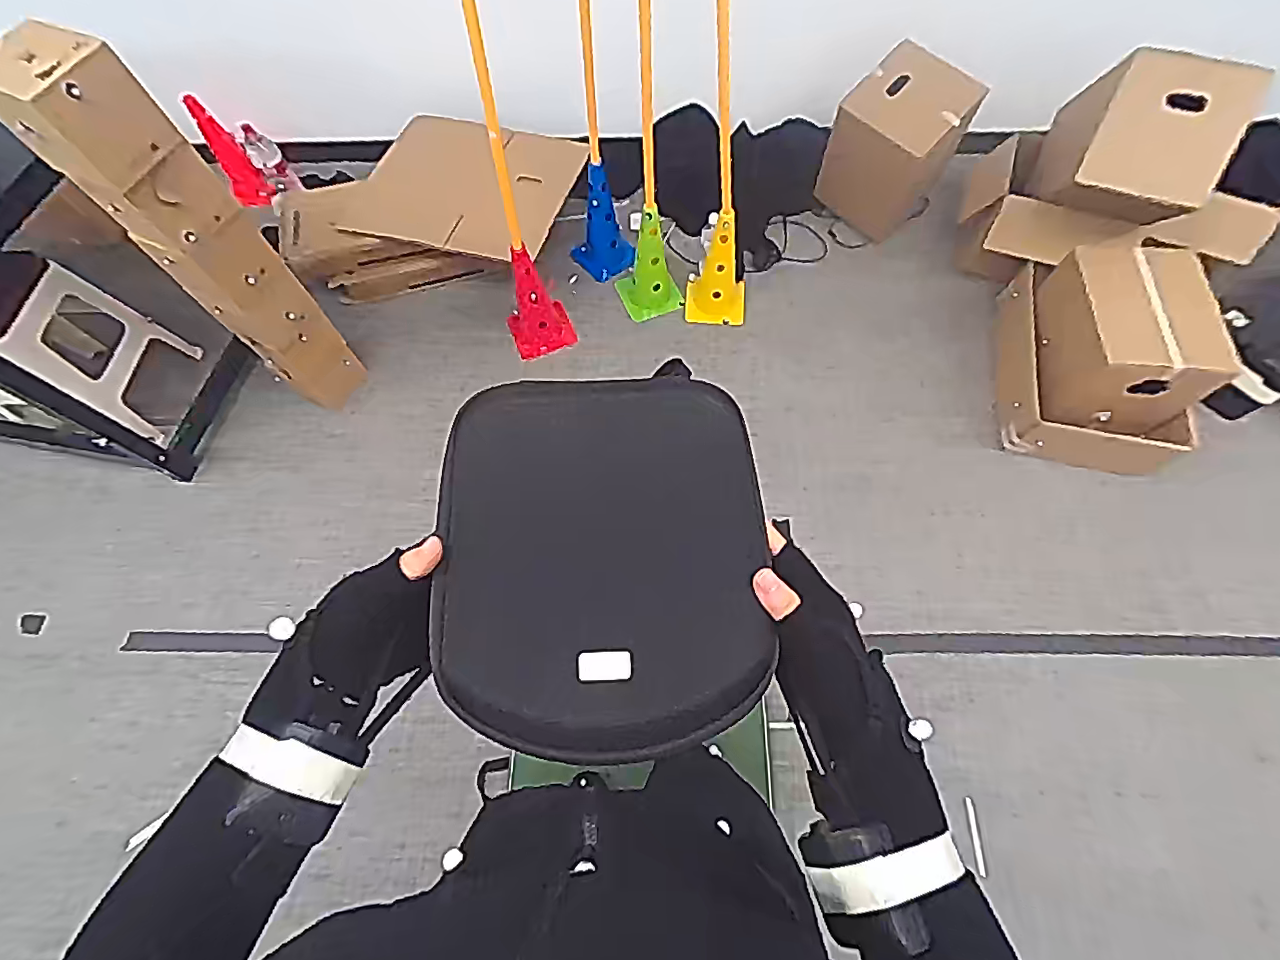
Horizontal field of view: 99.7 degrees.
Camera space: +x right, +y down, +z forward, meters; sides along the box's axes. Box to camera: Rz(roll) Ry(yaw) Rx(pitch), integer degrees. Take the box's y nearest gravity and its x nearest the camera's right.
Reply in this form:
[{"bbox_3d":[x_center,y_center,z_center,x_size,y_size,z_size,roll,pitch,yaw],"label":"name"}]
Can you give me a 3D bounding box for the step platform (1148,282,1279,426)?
[{"bbox_3d":[1.975,-0.438,1.667,0.684,0.204,0.286,-26,68,-10],"label":"step platform"}]
